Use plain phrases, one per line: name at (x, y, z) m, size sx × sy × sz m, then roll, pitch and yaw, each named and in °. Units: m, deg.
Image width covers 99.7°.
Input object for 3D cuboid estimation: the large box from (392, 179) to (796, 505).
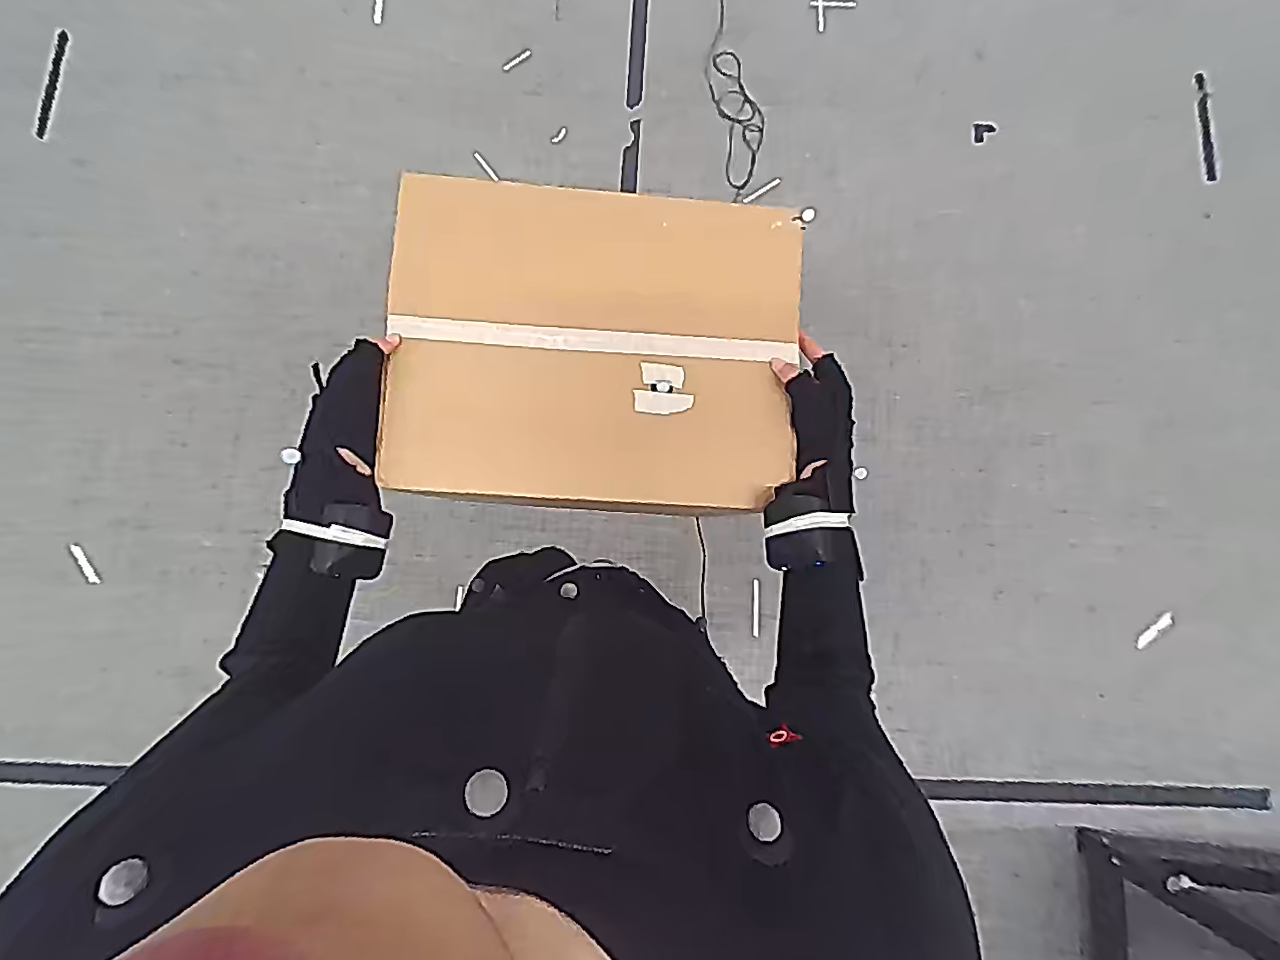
large box at (-0.051, -0.134, 0.697) m, size 0.408 × 0.320 × 0.320 m, roll 4°, pitch 86°, yaw -4°
